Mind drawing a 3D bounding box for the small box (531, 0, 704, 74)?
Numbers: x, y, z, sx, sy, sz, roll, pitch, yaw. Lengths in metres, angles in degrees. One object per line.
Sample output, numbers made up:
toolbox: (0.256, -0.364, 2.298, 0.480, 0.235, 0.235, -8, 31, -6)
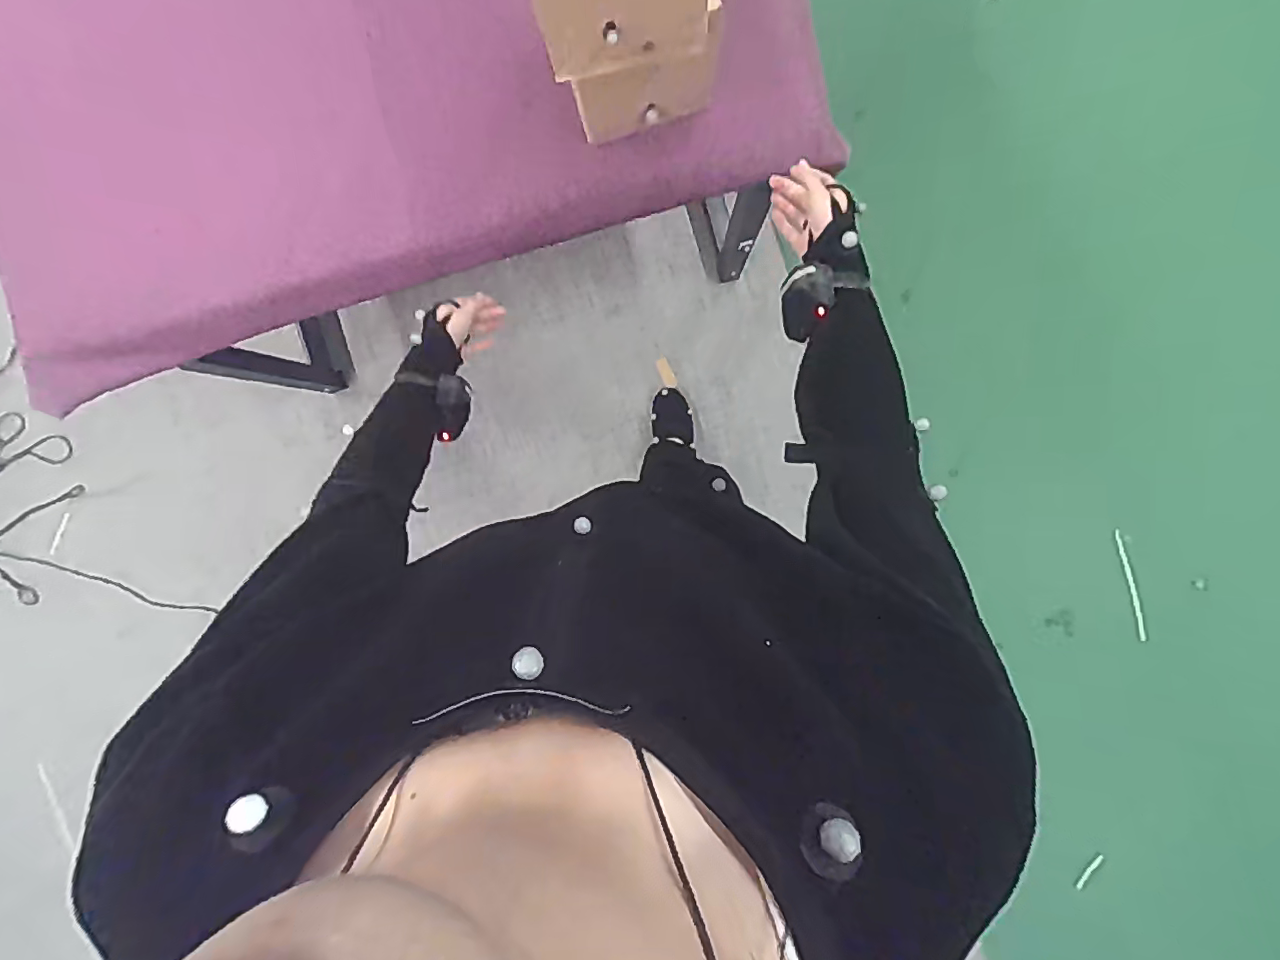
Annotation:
small box: (-0.031, -0.528, 0.495, 0.168, 0.176, 0.179, -8, 93, 4)

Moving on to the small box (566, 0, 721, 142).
small box: (-0.014, -0.557, 0.656, 0.179, 0.176, 0.168, -17, 90, 4)
